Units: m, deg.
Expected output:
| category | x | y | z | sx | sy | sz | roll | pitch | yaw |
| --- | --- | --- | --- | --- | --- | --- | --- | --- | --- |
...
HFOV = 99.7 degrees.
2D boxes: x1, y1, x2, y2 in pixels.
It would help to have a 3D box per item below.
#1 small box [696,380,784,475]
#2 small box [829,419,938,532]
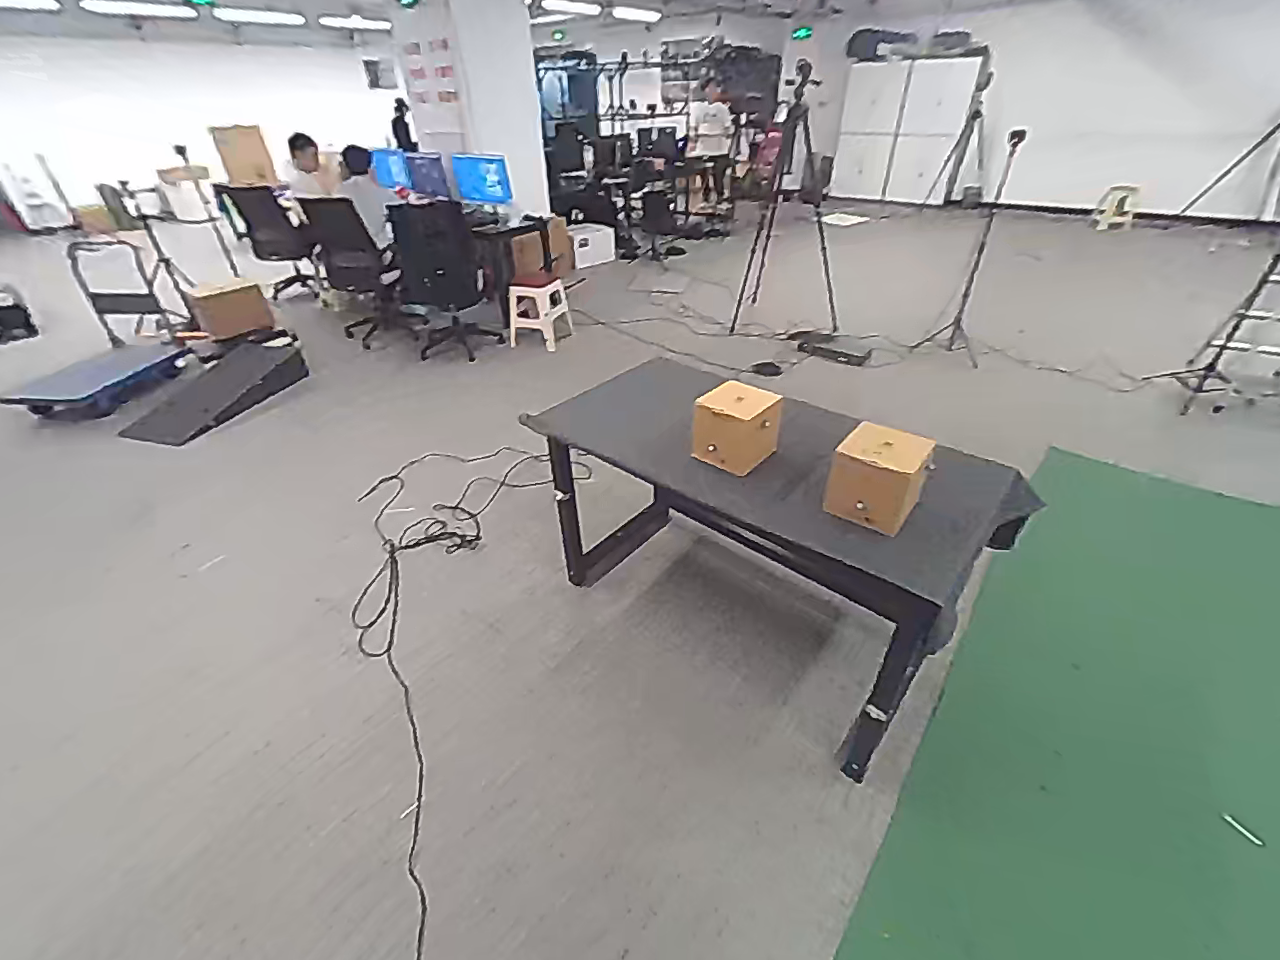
| category | x | y | z | sx | sy | sz | roll | pitch | yaw |
| --- | --- | --- | --- | --- | --- | --- | --- | --- | --- |
| small box | 0.261 | -0.141 | 1.443 | 0.168 | 0.176 | 0.179 | 25 | 44 | 33 |
| small box | 0.548 | -0.013 | 1.233 | 0.168 | 0.176 | 0.179 | 23 | 42 | 33 |
